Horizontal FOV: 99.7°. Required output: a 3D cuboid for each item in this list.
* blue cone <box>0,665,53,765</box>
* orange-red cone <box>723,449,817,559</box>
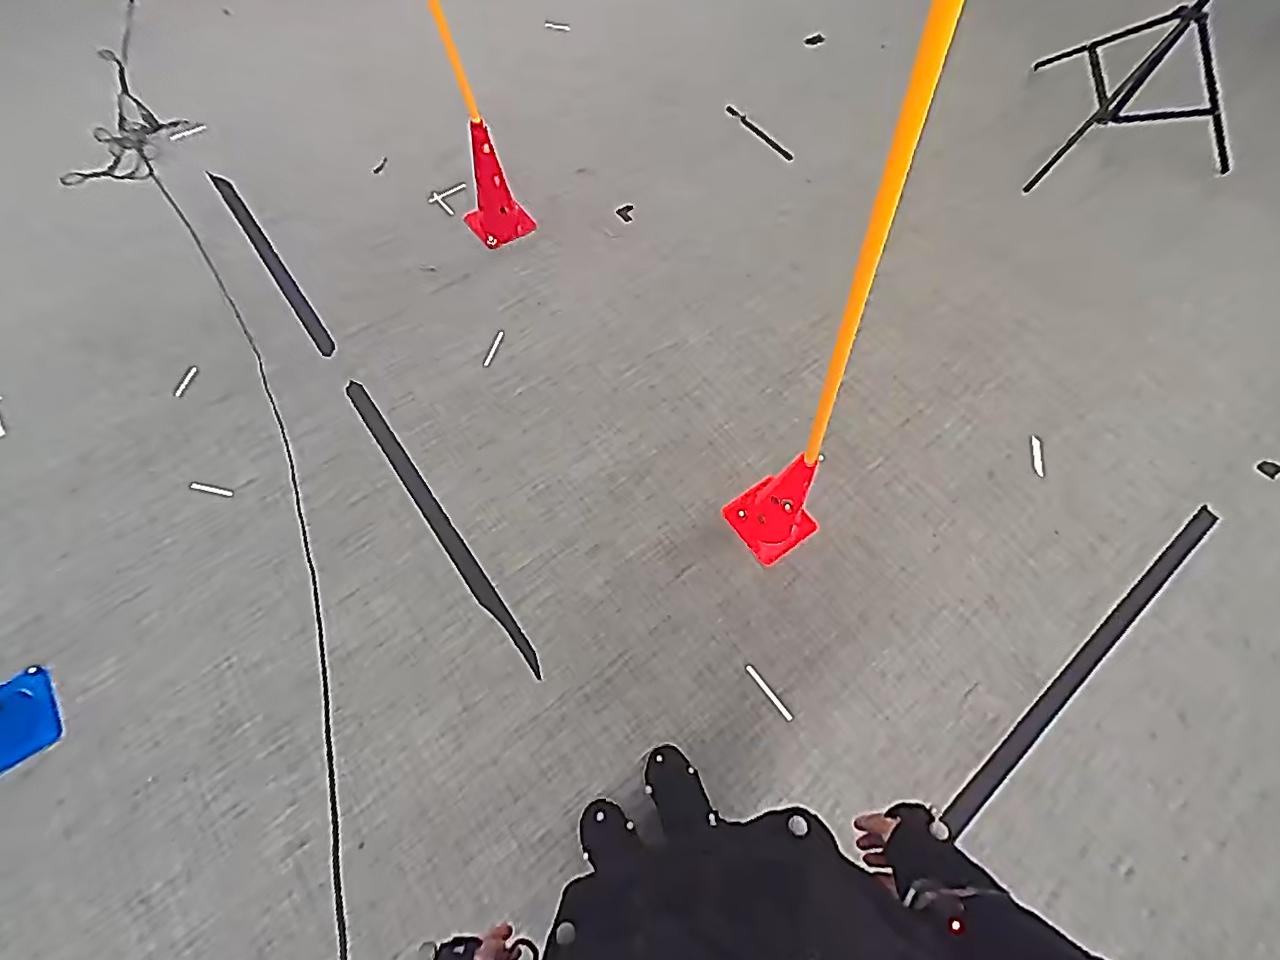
[{"bbox_3d":[-1.420,0.469,1.060,0.193,0.380,0.192,-31,69,-16],"label":"blue cone"},{"bbox_3d":[0.355,0.023,1.307,0.198,0.360,0.199,-31,70,-15],"label":"orange-red cone"}]
